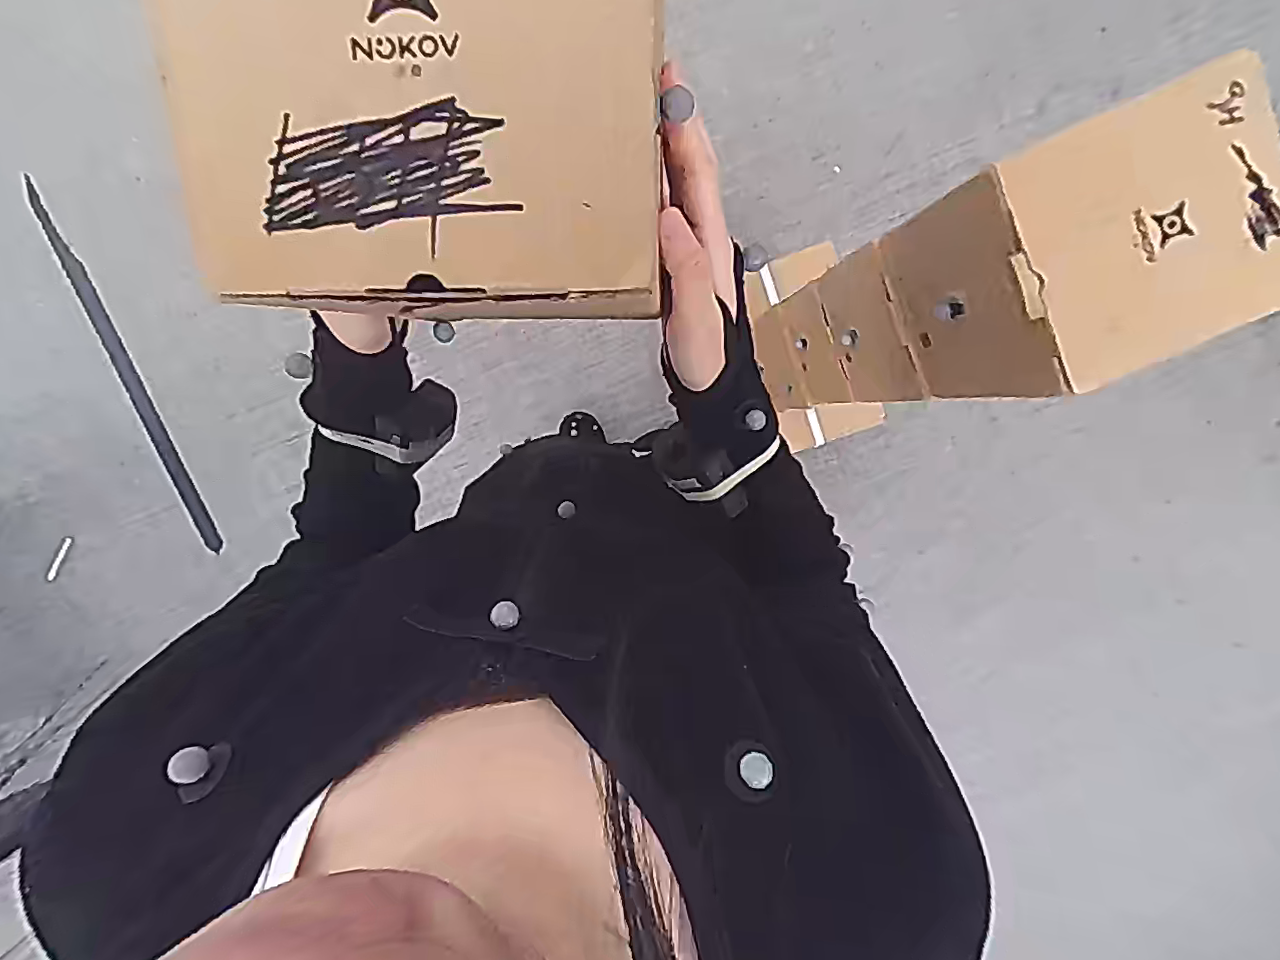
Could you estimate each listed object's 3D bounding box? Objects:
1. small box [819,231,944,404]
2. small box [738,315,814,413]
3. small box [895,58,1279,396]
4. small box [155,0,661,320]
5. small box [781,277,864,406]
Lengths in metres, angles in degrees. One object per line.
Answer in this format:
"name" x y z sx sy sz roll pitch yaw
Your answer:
"small box" 0.329 -0.193 0.600 0.179 0.176 0.168 -23 97 3
"small box" 0.312 -0.244 1.089 0.168 0.176 0.179 -22 98 3
"small box" 0.335 -0.173 0.438 0.179 0.176 0.168 -23 98 4
"small box" -0.075 -0.169 0.257 0.168 0.176 0.179 0 103 3
"small box" 0.324 -0.213 0.764 0.179 0.176 0.168 -22 98 3
